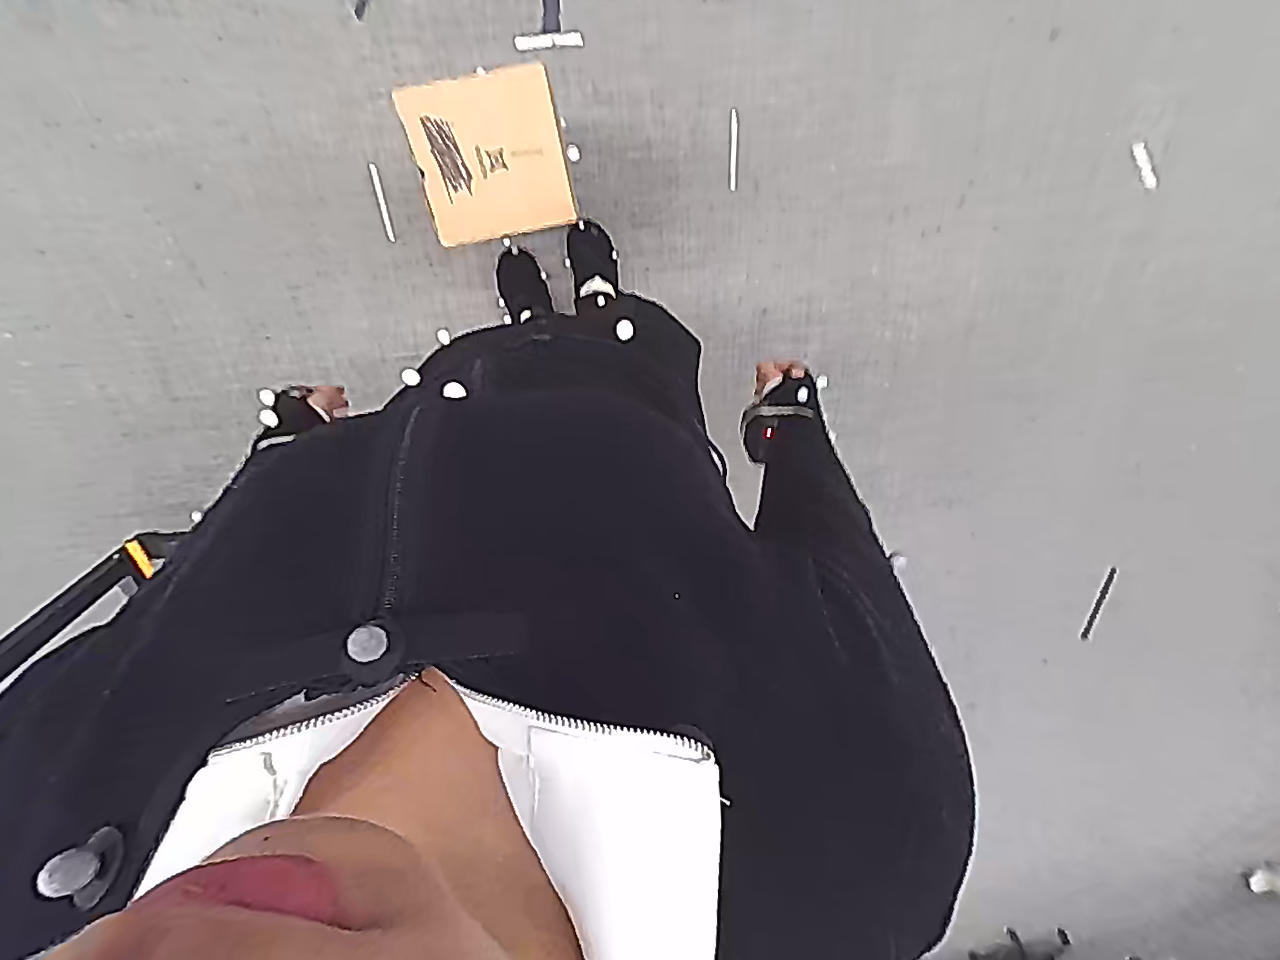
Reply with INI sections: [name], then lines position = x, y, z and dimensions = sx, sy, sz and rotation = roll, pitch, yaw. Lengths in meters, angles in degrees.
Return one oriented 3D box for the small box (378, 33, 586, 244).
[small box]
position = -0.163, -0.382, 0.628
dimensions = 0.179, 0.176, 0.168
rotation = -11, 120, 0
